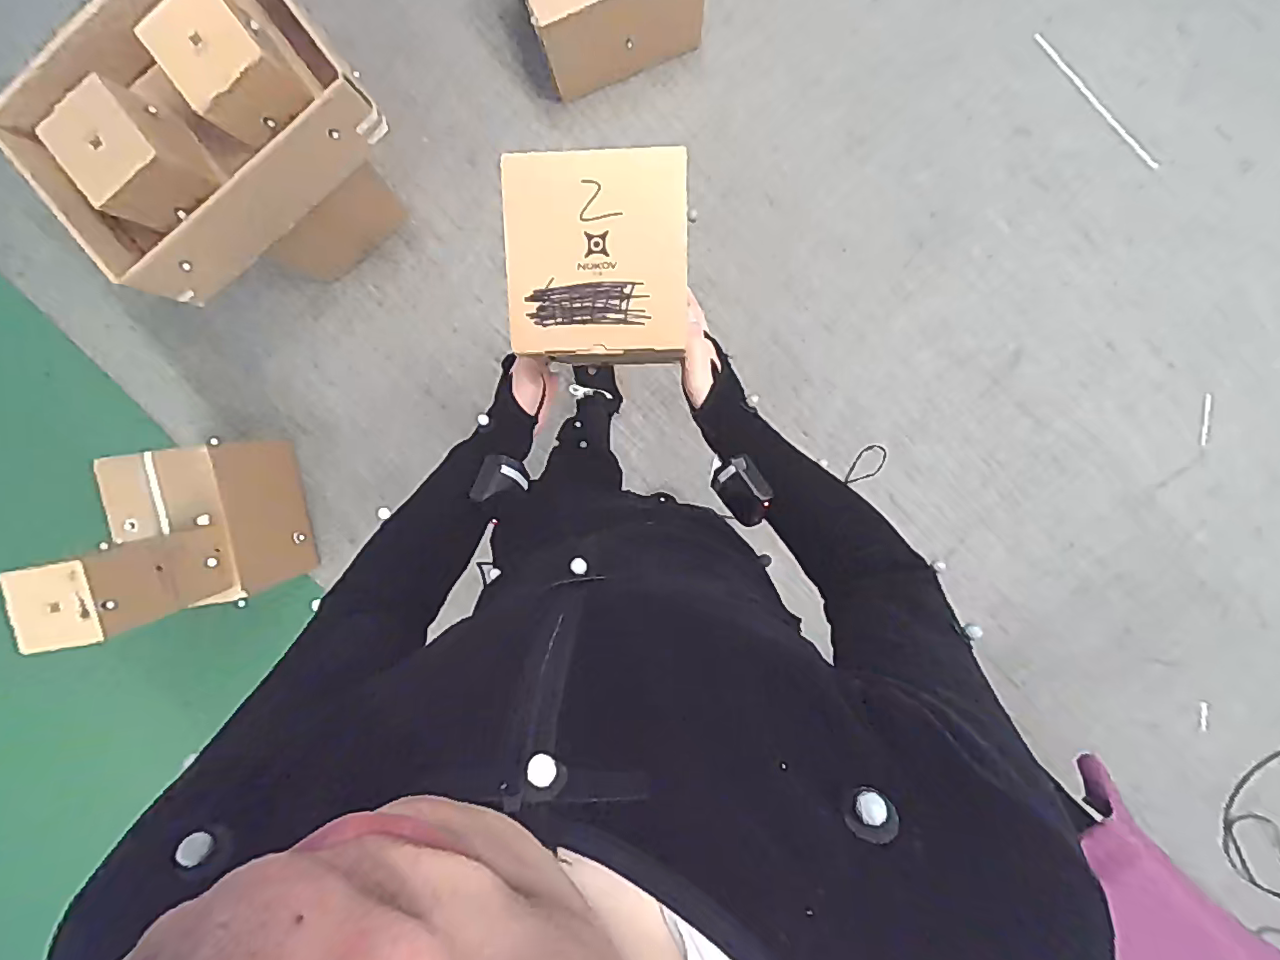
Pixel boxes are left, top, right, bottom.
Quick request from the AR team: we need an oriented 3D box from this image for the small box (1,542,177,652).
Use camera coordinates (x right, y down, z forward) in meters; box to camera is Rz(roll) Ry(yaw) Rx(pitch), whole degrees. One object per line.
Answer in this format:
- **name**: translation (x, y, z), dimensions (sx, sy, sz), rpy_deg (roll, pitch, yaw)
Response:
- **small box**: translation (-1.126, 0.235, 1.119), dimensions (0.179, 0.176, 0.168), rpy_deg (-10, 97, 3)

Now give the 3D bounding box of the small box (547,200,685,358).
- **small box**: translation (-0.023, -0.254, 0.725), dimensions (0.168, 0.176, 0.179), rpy_deg (-1, 100, 3)

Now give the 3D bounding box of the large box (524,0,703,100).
- **large box**: translation (-0.087, -1.222, 1.297), dimensions (0.408, 0.320, 0.320), rpy_deg (-20, 96, 6)

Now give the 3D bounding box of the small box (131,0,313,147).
- **small box**: translation (-0.780, -0.788, 1.029), dimensions (0.168, 0.176, 0.179), rpy_deg (-36, 96, 6)

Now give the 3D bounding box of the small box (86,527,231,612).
- **small box**: translation (-1.131, 0.216, 1.282), dimensions (0.179, 0.176, 0.168), rpy_deg (-9, 97, 2)
